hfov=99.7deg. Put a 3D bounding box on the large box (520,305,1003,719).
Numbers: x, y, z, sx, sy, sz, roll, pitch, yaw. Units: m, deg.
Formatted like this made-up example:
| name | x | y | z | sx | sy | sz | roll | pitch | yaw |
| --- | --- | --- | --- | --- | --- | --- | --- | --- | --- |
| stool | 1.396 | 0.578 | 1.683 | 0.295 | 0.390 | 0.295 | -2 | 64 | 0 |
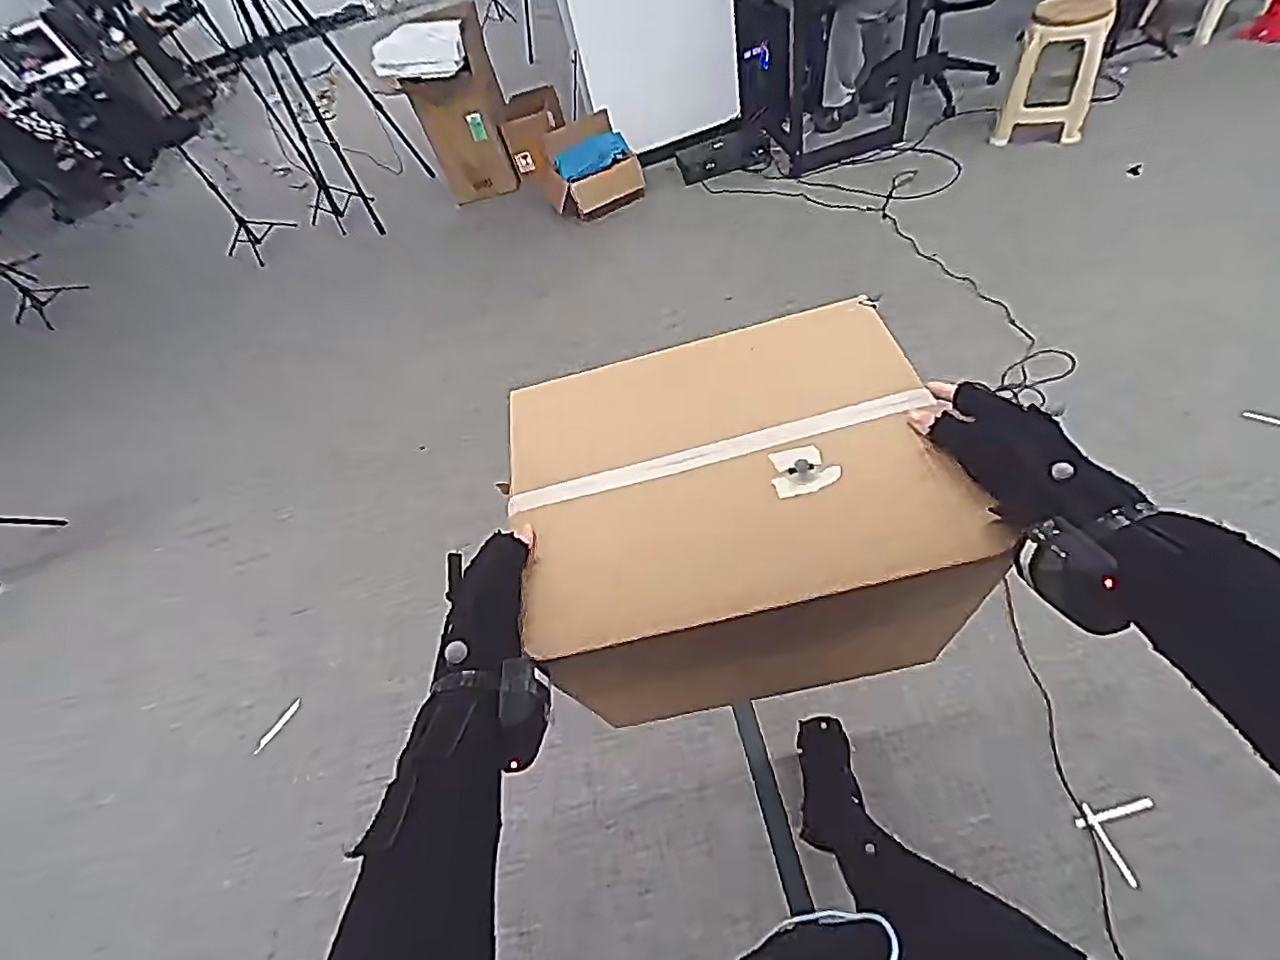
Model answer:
| name | x | y | z | sx | sy | sz | roll | pitch | yaw |
| --- | --- | --- | --- | --- | --- | --- | --- | --- | --- |
| large box | 0.105 | 0.057 | 0.650 | 0.408 | 0.320 | 0.320 | -14 | 55 | 4 |
